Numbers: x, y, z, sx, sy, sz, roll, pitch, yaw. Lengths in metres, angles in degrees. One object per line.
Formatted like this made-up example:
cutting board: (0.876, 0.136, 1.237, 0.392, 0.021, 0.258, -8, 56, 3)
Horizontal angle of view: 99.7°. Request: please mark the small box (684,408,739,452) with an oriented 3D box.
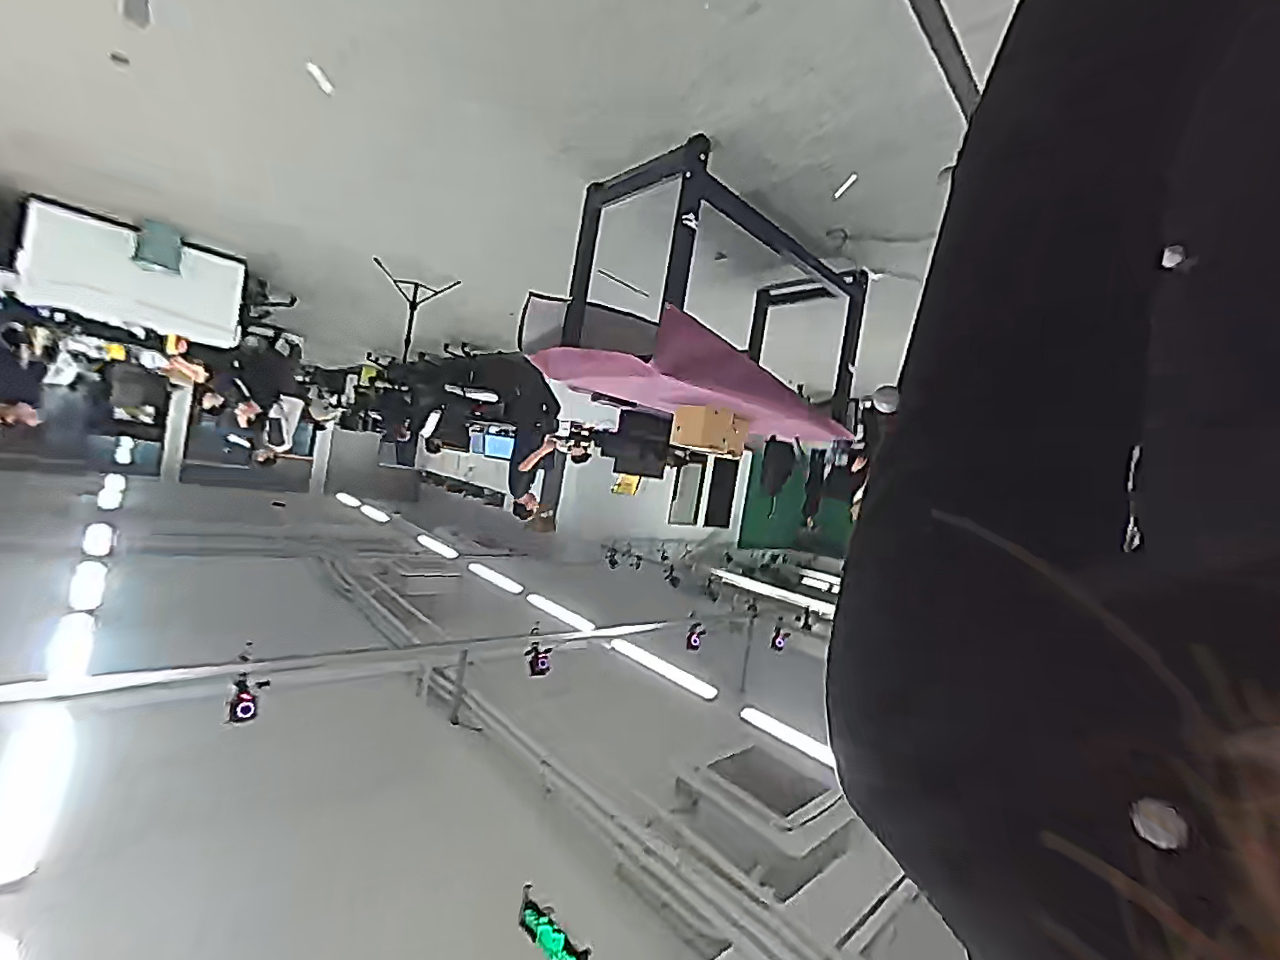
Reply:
small box: (0.323, -0.225, 2.412, 0.168, 0.176, 0.179, 7, -178, -42)
